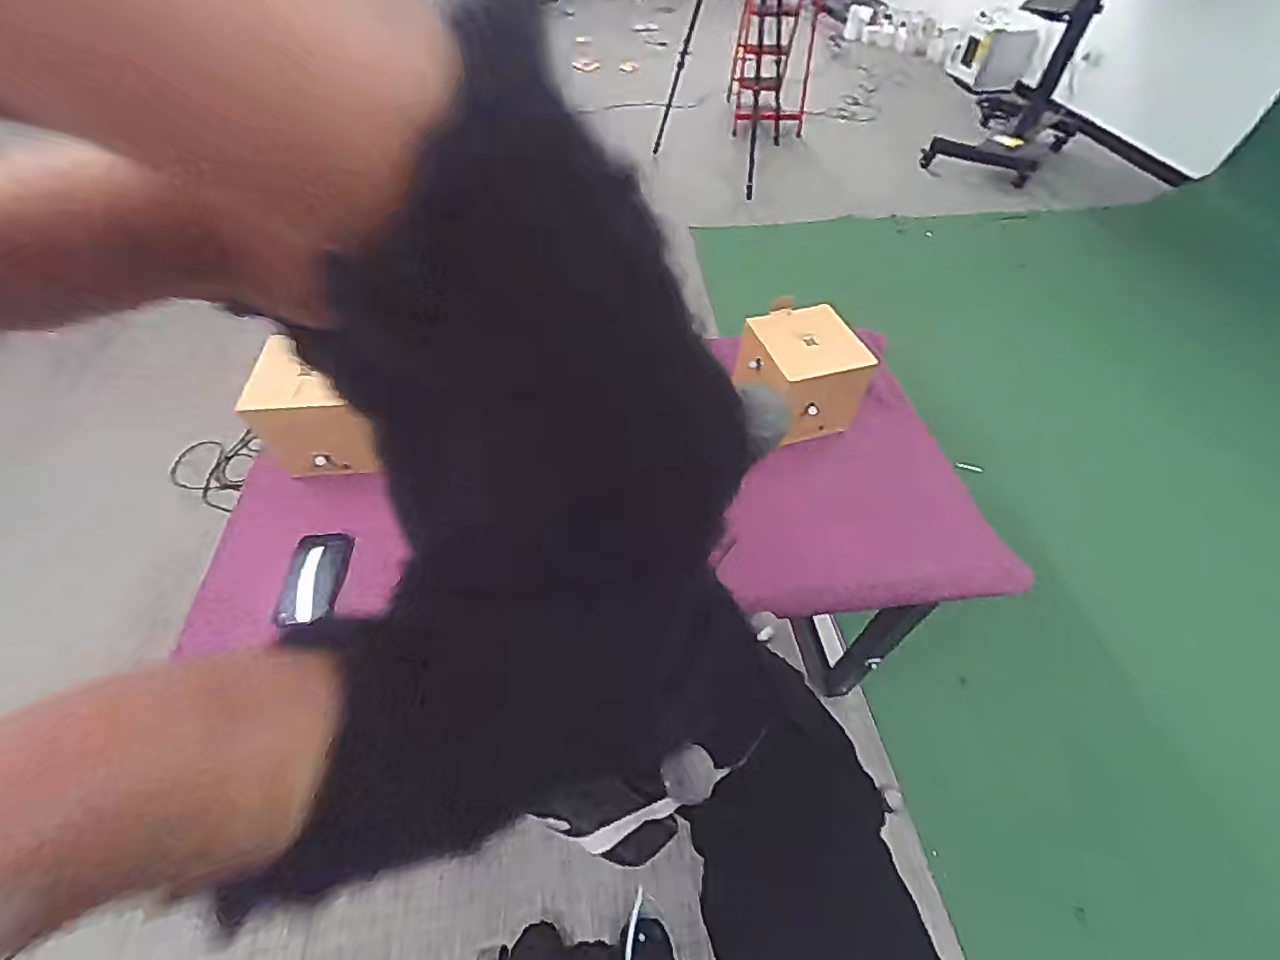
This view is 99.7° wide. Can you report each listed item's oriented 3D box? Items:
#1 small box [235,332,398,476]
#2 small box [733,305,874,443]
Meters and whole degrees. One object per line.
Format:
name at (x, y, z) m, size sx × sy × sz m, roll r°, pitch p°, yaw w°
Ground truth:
small box at (-0.526, -0.128, 0.914) m, size 0.168 × 0.176 × 0.179 m, roll -4°, pitch 54°, yaw -4°
small box at (0.283, -0.185, 0.981) m, size 0.168 × 0.176 × 0.179 m, roll -13°, pitch 53°, yaw -11°
